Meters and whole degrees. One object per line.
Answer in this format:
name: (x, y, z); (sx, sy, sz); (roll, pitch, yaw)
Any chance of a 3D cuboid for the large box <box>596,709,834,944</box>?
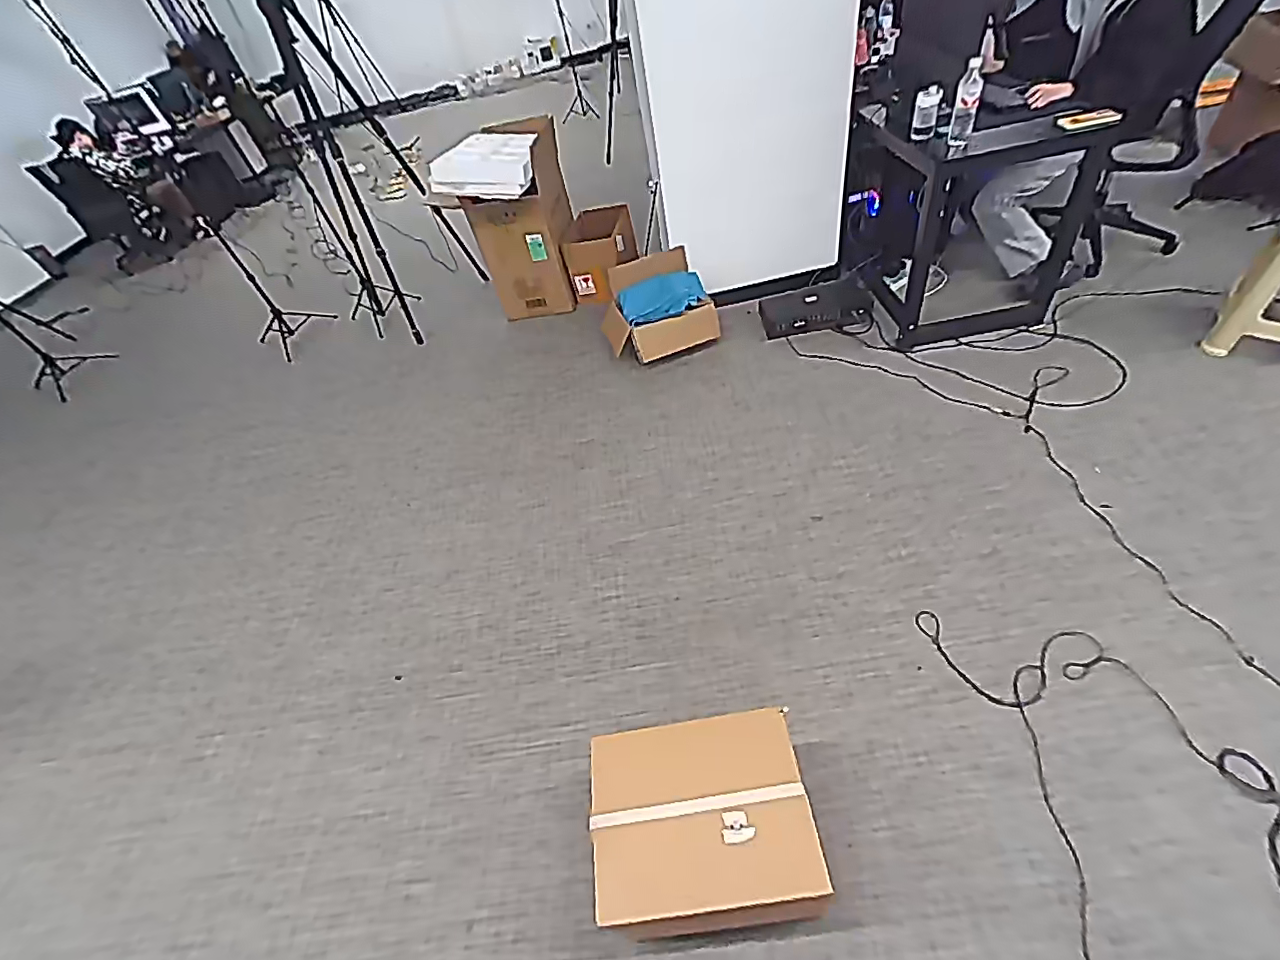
large box: (0.142, 0.719, 1.119); (0.408, 0.320, 0.320); (-11, 45, 3)
